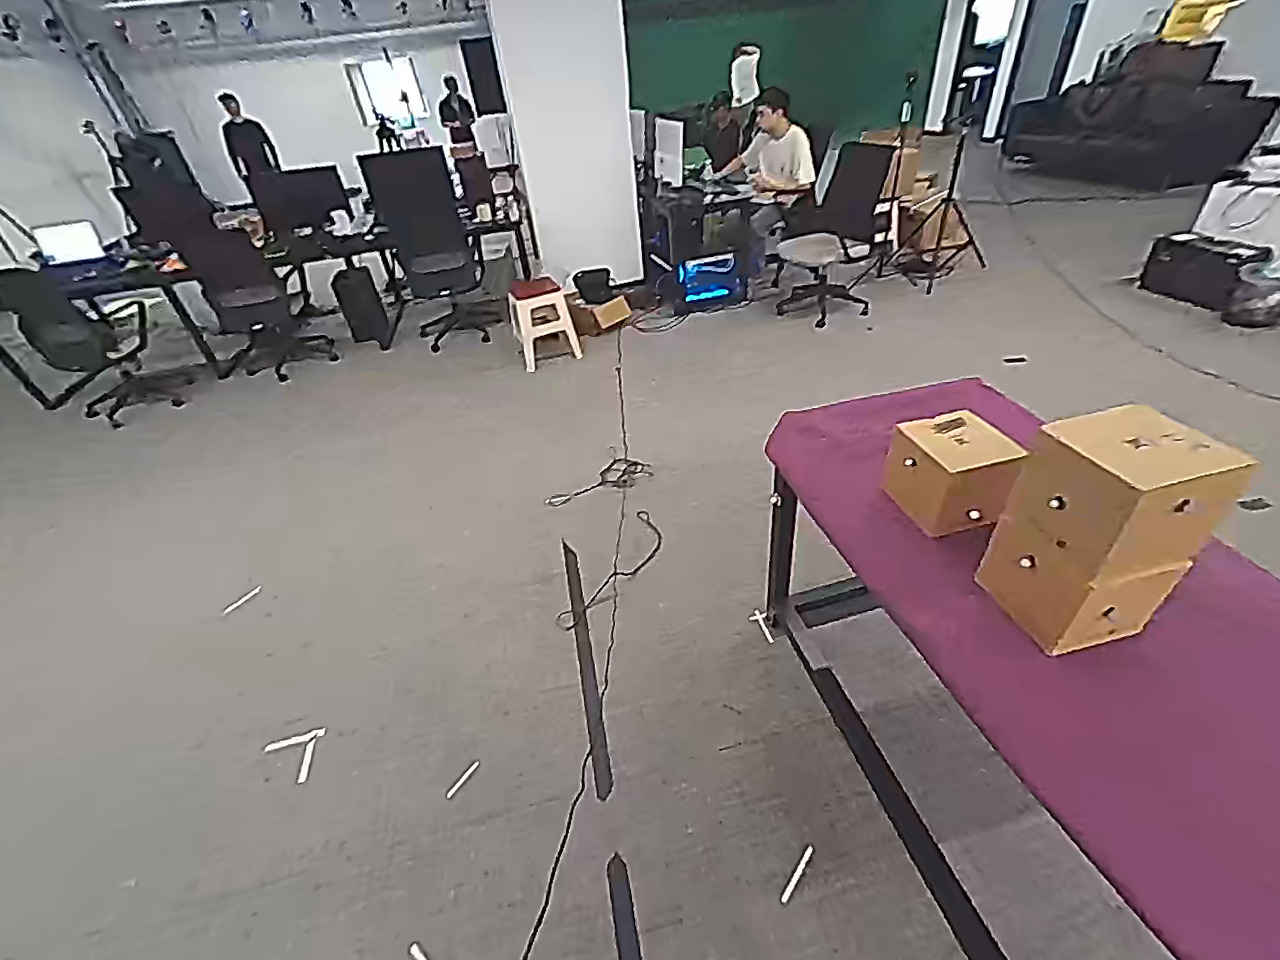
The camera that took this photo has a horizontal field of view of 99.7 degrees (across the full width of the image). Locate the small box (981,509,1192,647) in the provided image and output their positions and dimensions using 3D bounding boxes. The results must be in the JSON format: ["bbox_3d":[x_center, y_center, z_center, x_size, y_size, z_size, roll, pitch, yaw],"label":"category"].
[{"bbox_3d":[0.703,0.149,0.878,0.168,0.176,0.179,-12,37,-6],"label":"small box"}]

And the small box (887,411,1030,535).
[{"bbox_3d":[0.631,-0.015,1.100,0.168,0.176,0.179,-13,39,-7],"label":"small box"}]

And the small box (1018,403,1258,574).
[{"bbox_3d":[0.692,0.014,0.784,0.179,0.176,0.168,-12,37,-6],"label":"small box"}]
